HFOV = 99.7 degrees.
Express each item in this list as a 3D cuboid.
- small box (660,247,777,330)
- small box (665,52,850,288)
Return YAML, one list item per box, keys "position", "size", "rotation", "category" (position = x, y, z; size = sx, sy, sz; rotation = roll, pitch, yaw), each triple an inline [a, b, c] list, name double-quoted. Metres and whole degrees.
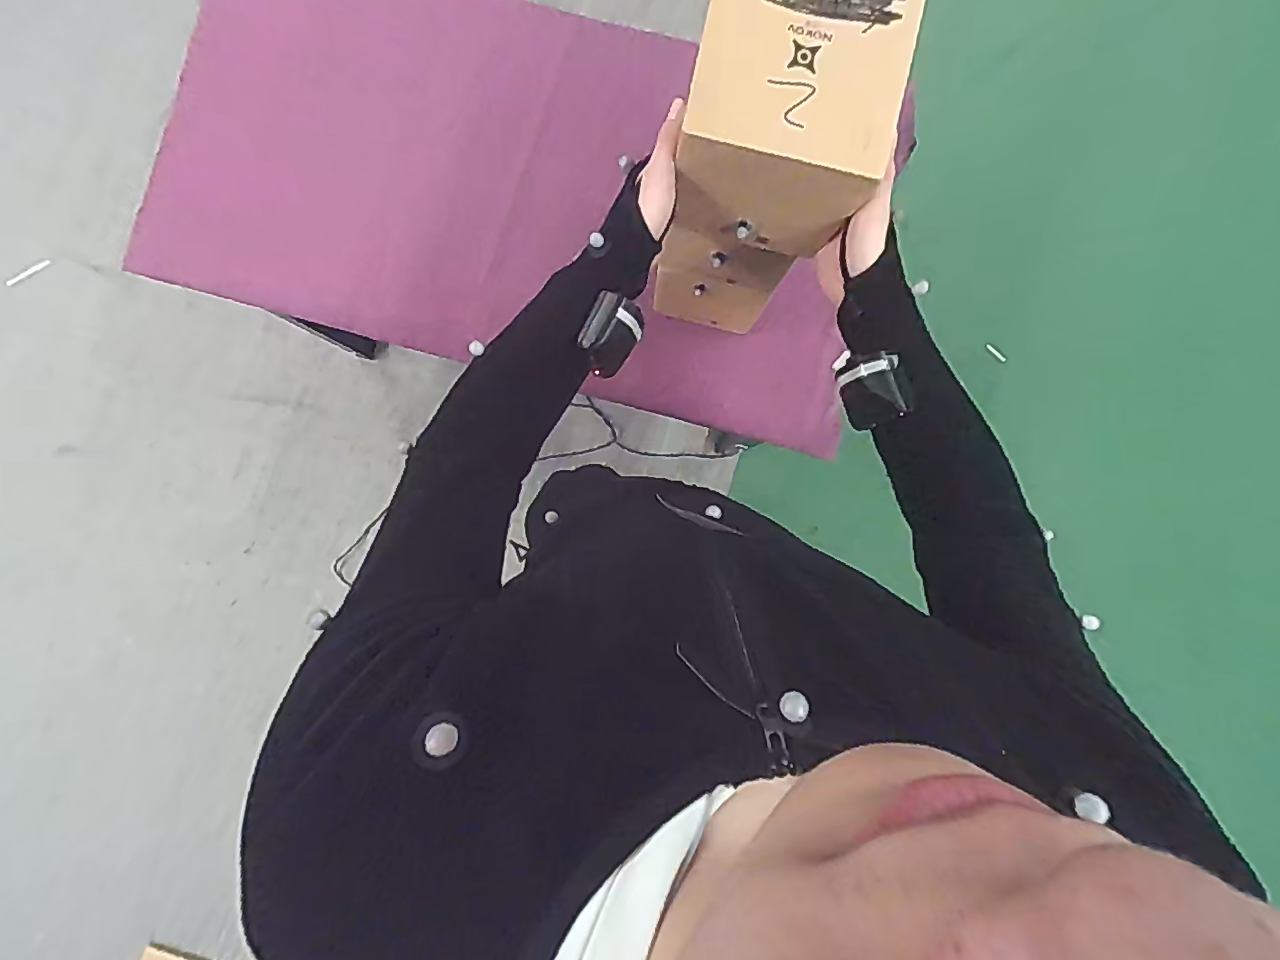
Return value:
- position: [0.129, -0.358, 0.838]
  size: [0.168, 0.176, 0.179]
  rotation: [14, 87, 1]
  category: "small box"
- position: [0.131, -0.365, 0.673]
  size: [0.168, 0.176, 0.179]
  rotation: [16, 88, 0]
  category: "small box"
